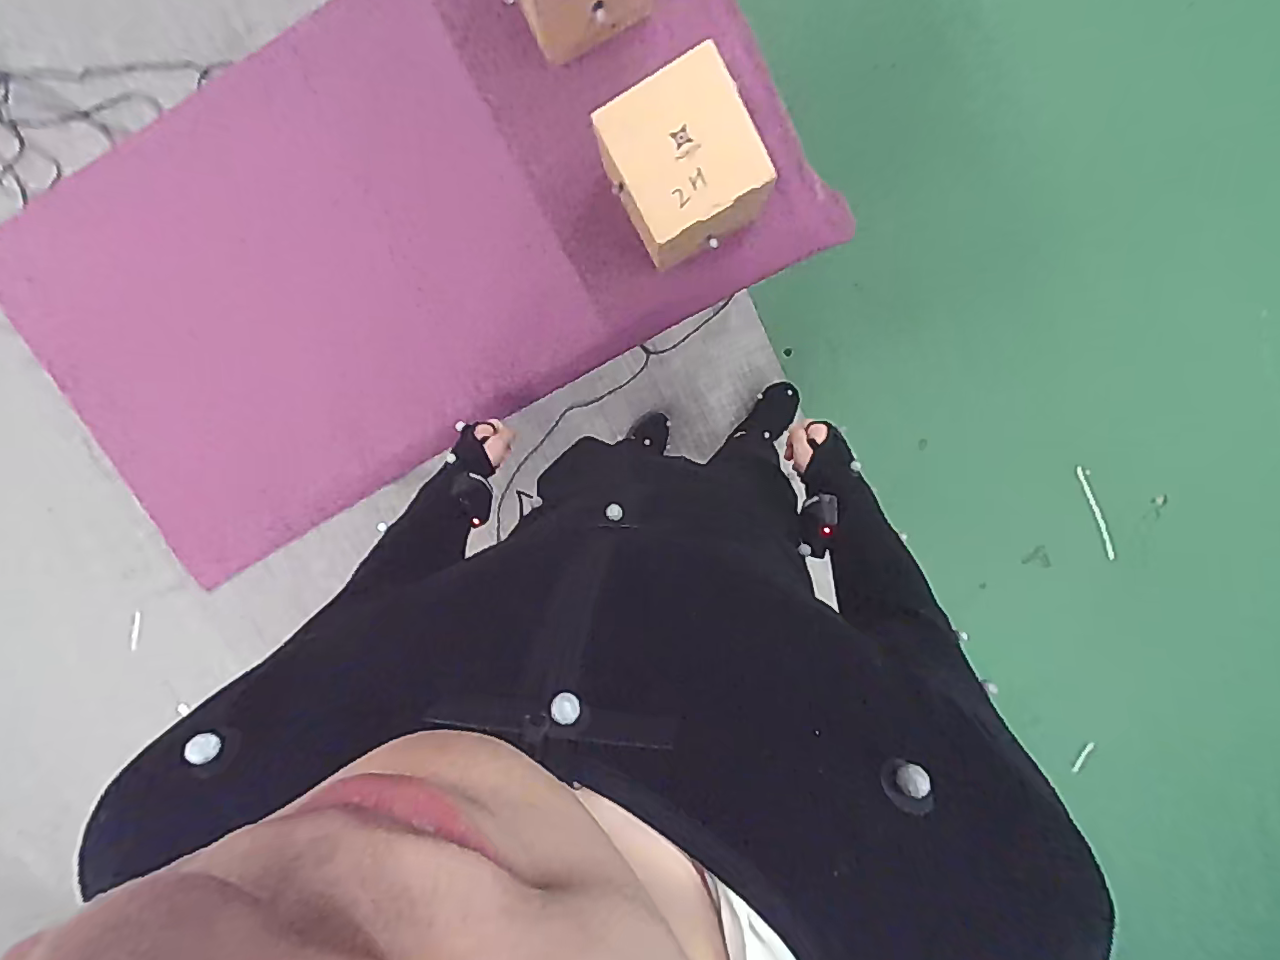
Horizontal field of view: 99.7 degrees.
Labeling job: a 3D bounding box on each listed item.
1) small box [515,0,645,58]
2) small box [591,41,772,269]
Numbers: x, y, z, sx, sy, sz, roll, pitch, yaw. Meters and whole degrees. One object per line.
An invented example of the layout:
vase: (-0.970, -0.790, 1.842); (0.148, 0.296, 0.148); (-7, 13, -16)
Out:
small box: (-0.099, -0.691, 0.689); (0.168, 0.176, 0.179); (-27, 101, 6)
small box: (0.054, -0.417, 0.731); (0.168, 0.176, 0.179); (-28, 96, 7)
